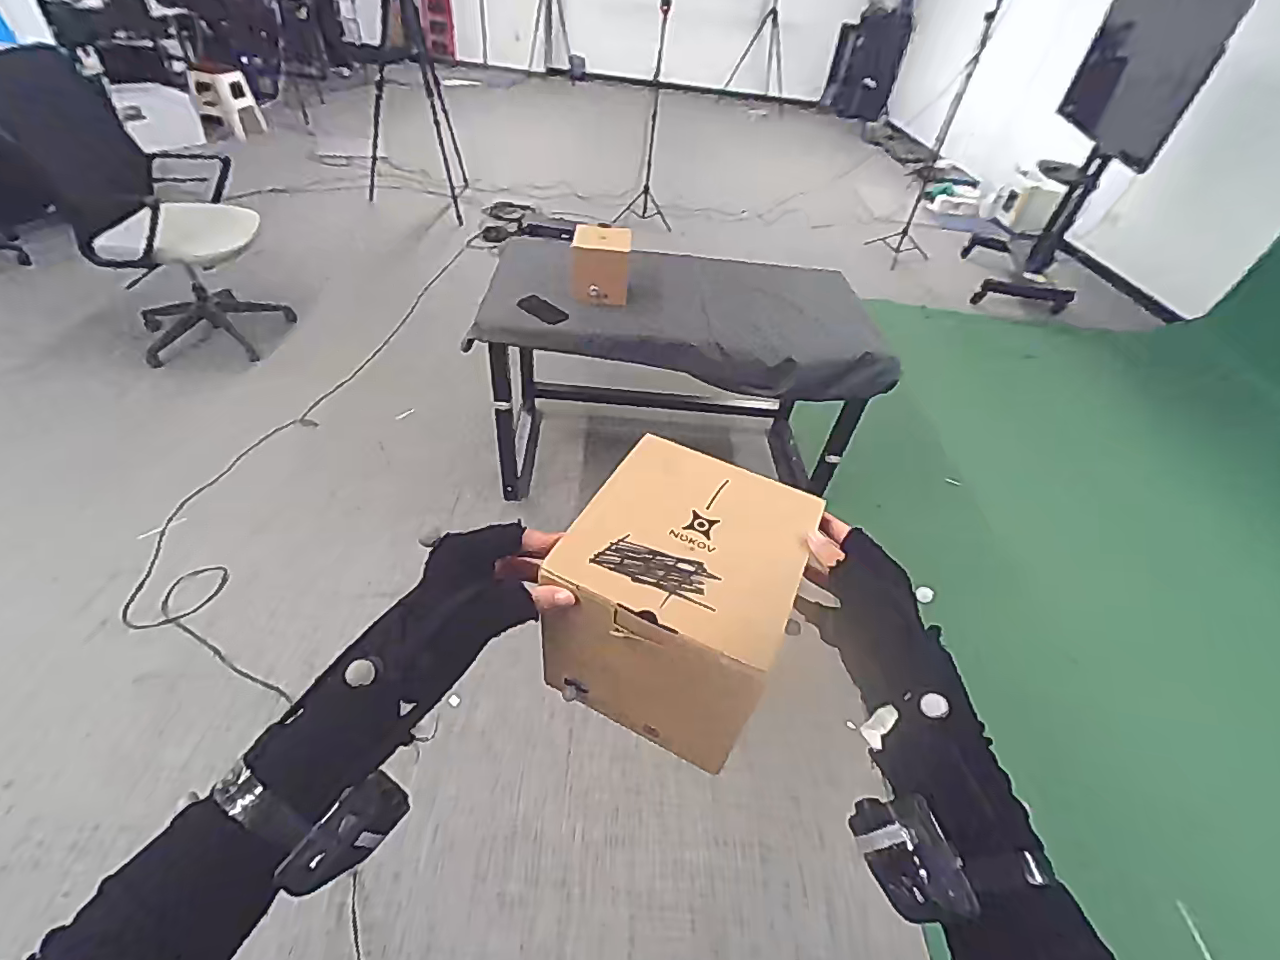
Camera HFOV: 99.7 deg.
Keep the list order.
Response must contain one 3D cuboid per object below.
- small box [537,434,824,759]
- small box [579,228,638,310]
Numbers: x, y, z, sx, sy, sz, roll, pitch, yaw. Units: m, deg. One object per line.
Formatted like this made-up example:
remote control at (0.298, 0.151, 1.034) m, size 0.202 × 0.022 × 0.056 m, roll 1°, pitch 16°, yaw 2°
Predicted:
small box at (0.033, 0.096, 0.456) m, size 0.168 × 0.176 × 0.179 m, roll 22°, pitch 44°, yaw 15°
small box at (-0.096, -0.639, 1.635) m, size 0.168 × 0.176 × 0.179 m, roll 4°, pitch 45°, yaw -3°
